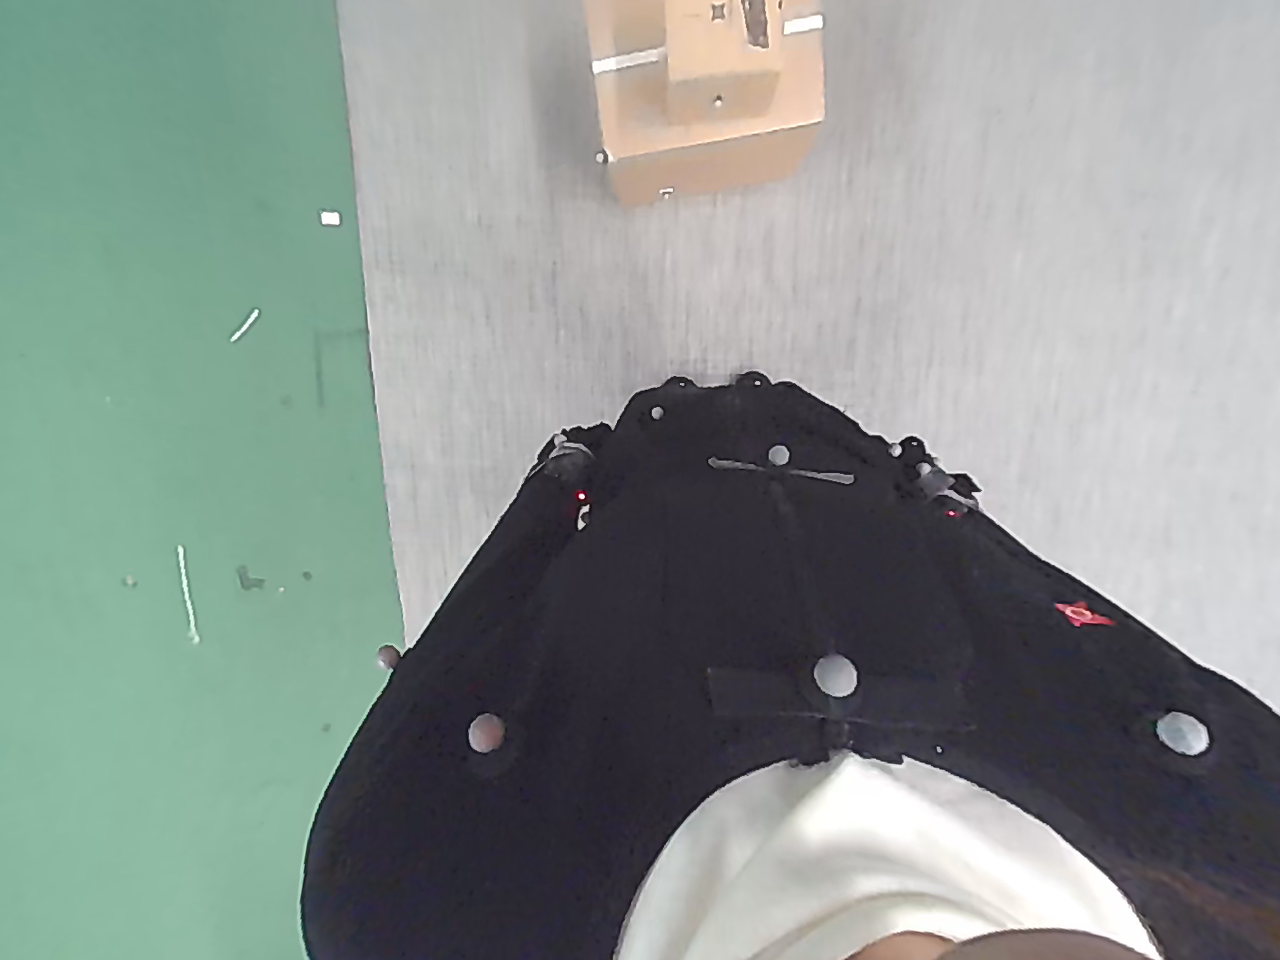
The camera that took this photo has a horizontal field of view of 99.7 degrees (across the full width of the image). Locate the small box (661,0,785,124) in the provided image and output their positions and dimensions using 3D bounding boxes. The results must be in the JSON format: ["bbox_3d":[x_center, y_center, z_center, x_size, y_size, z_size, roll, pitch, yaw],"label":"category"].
[{"bbox_3d":[0.126,-0.709,0.875,0.179,0.176,0.168,-6,103,5],"label":"small box"}]
